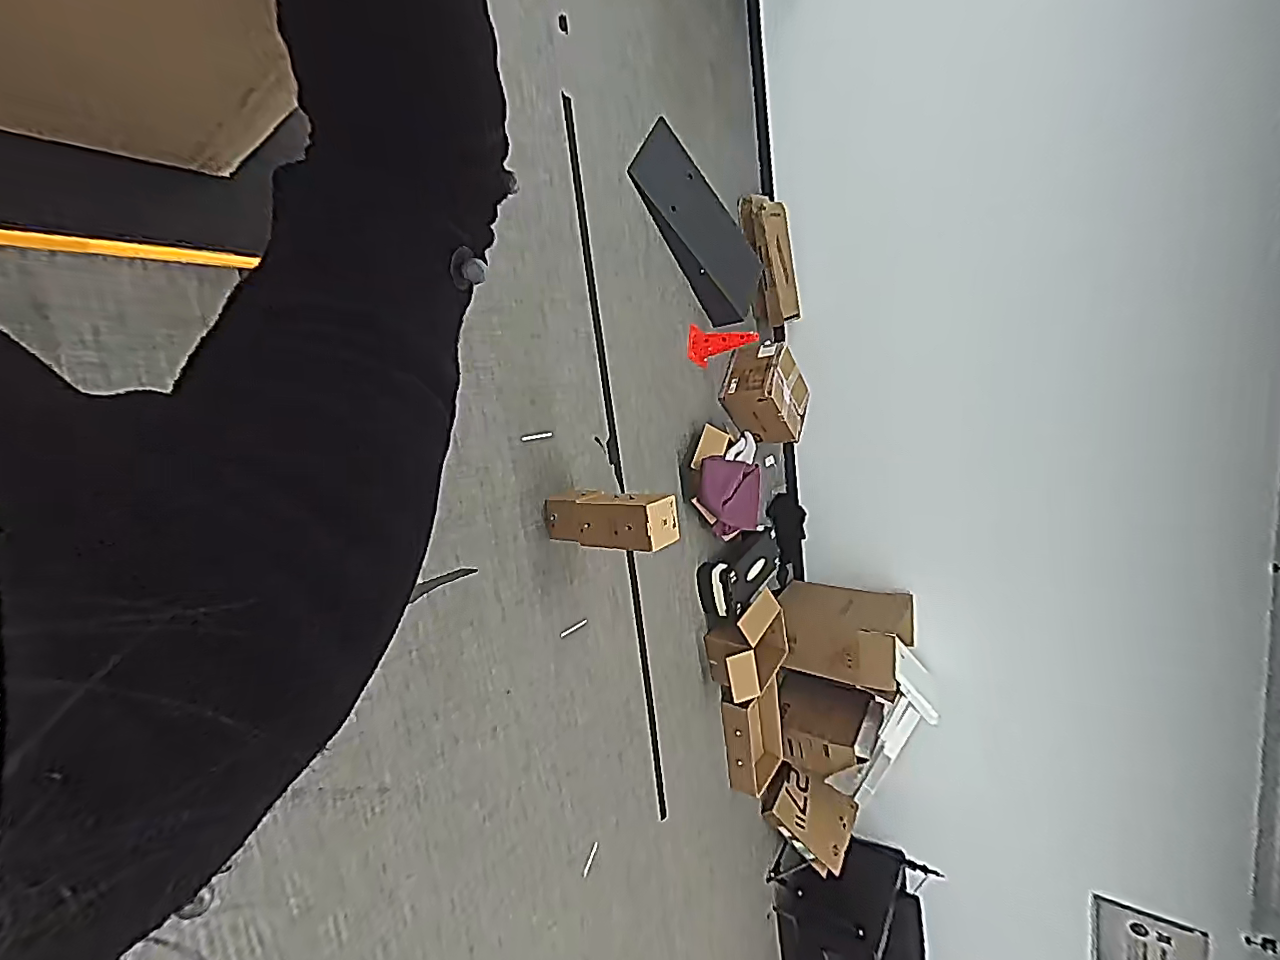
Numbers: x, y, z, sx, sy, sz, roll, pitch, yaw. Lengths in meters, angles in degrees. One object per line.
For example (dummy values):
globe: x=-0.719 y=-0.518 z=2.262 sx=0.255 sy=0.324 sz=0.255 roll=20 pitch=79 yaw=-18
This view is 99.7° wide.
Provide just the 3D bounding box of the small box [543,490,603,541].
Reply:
small box: x=-0.254 y=0.134 z=2.116 sx=0.179 sy=0.176 sz=0.168 roll=-18 pitch=104 yaw=-51

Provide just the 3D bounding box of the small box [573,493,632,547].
small box: x=-0.126 y=0.143 z=2.011 sx=0.179 sy=0.176 sz=0.168 roll=-18 pitch=103 yaw=-52

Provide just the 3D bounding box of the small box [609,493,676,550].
small box: x=0.004 y=0.143 z=1.911 sx=0.179 sy=0.176 sz=0.168 roll=-17 pitch=103 yaw=-52
